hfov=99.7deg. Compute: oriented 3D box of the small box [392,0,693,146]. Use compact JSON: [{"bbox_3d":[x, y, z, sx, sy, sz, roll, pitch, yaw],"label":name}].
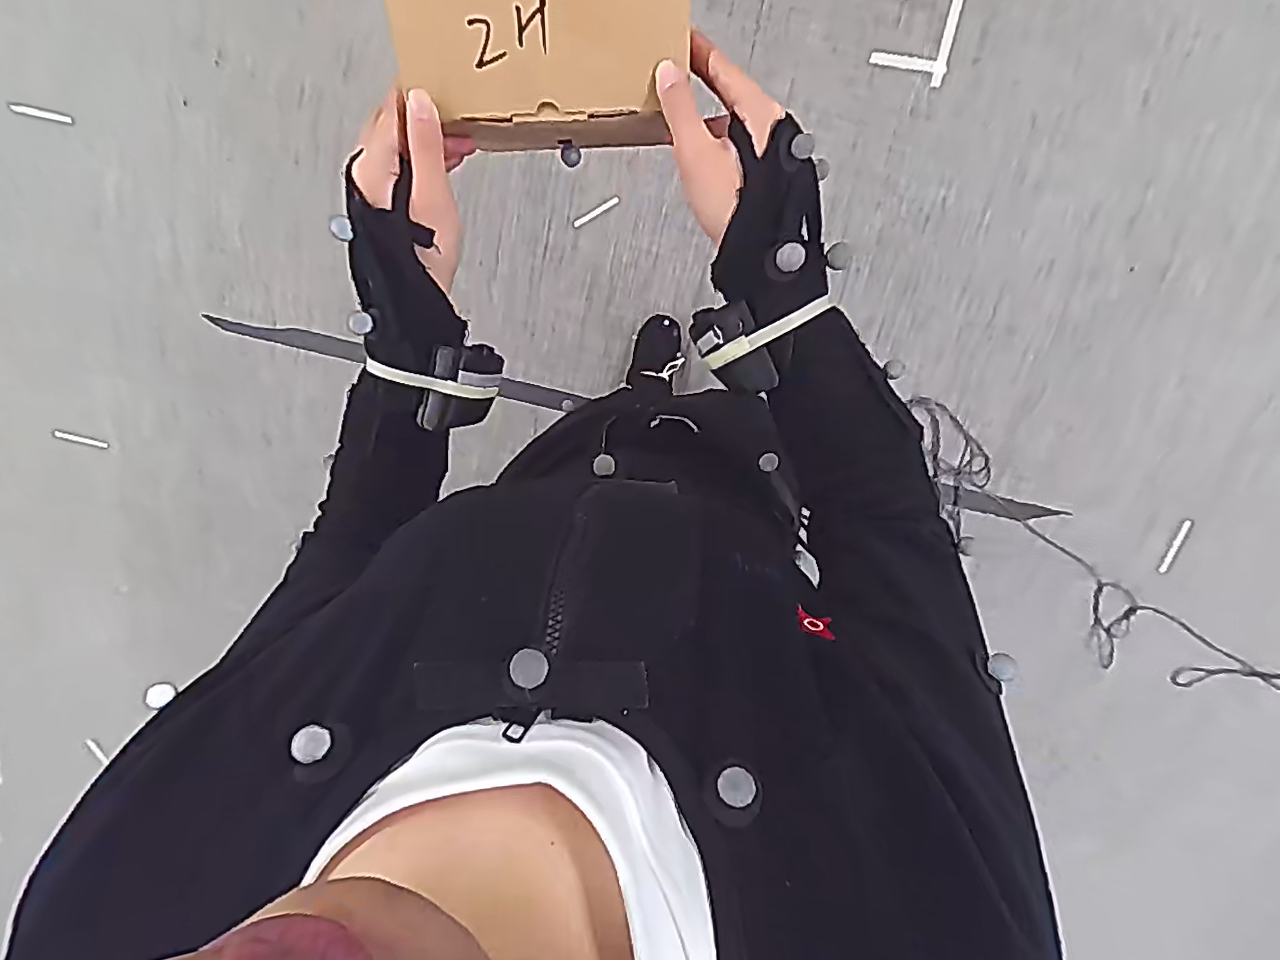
[{"bbox_3d":[-0.054,-0.330,0.350,0.168,0.176,0.179,-1,116,1],"label":"small box"}]
